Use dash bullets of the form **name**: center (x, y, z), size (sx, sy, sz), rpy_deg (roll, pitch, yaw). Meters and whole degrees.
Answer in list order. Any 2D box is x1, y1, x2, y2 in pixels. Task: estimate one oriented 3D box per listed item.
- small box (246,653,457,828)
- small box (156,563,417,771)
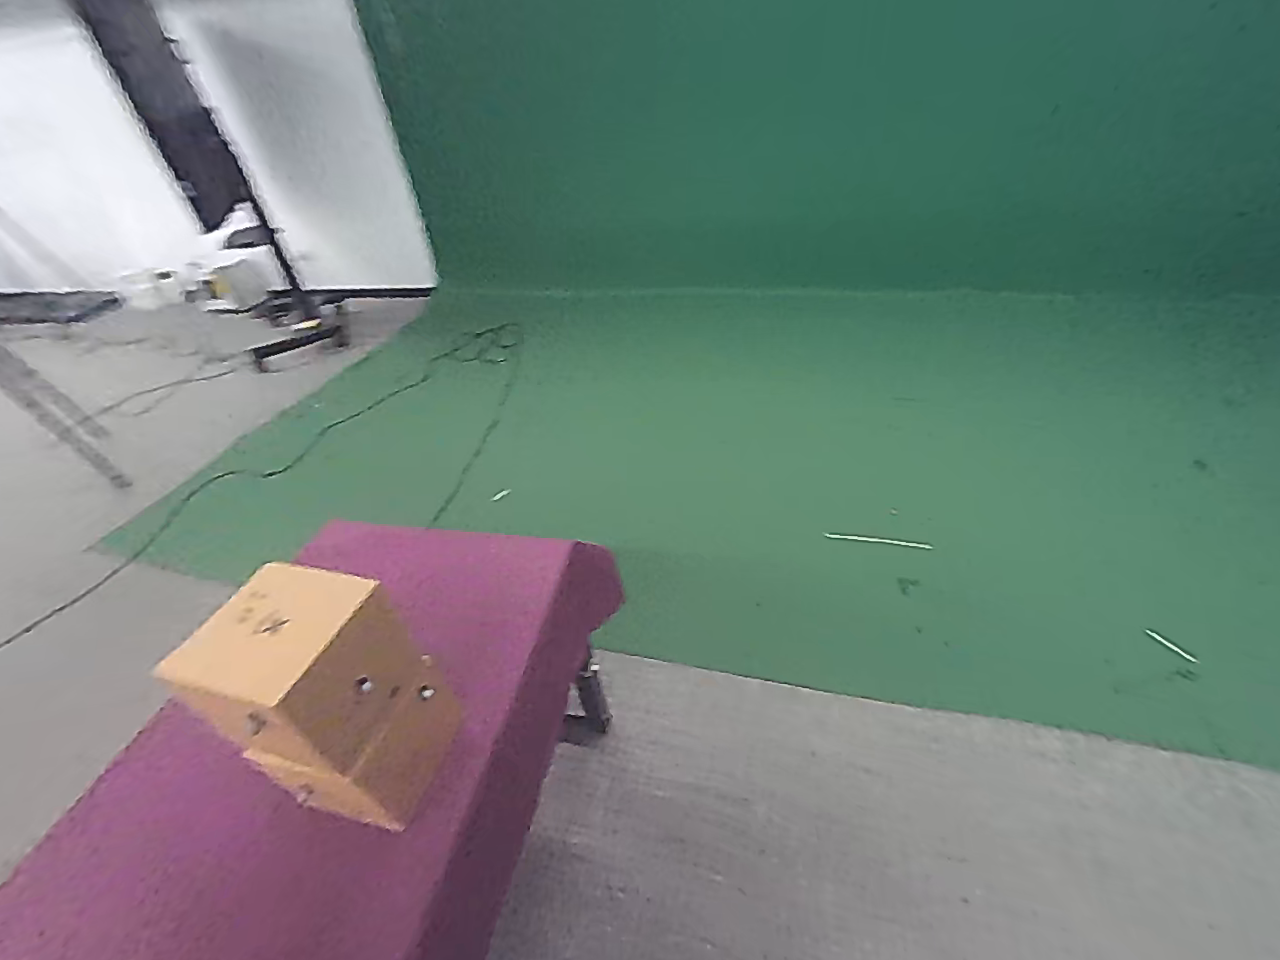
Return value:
- **small box**: center (-0.388, 0.358, 0.768), size (0.168, 0.176, 0.179), rpy_deg (4, 39, 15)
- **small box**: center (-0.412, 0.230, 0.667), size (0.179, 0.176, 0.168), rpy_deg (6, 40, 17)
